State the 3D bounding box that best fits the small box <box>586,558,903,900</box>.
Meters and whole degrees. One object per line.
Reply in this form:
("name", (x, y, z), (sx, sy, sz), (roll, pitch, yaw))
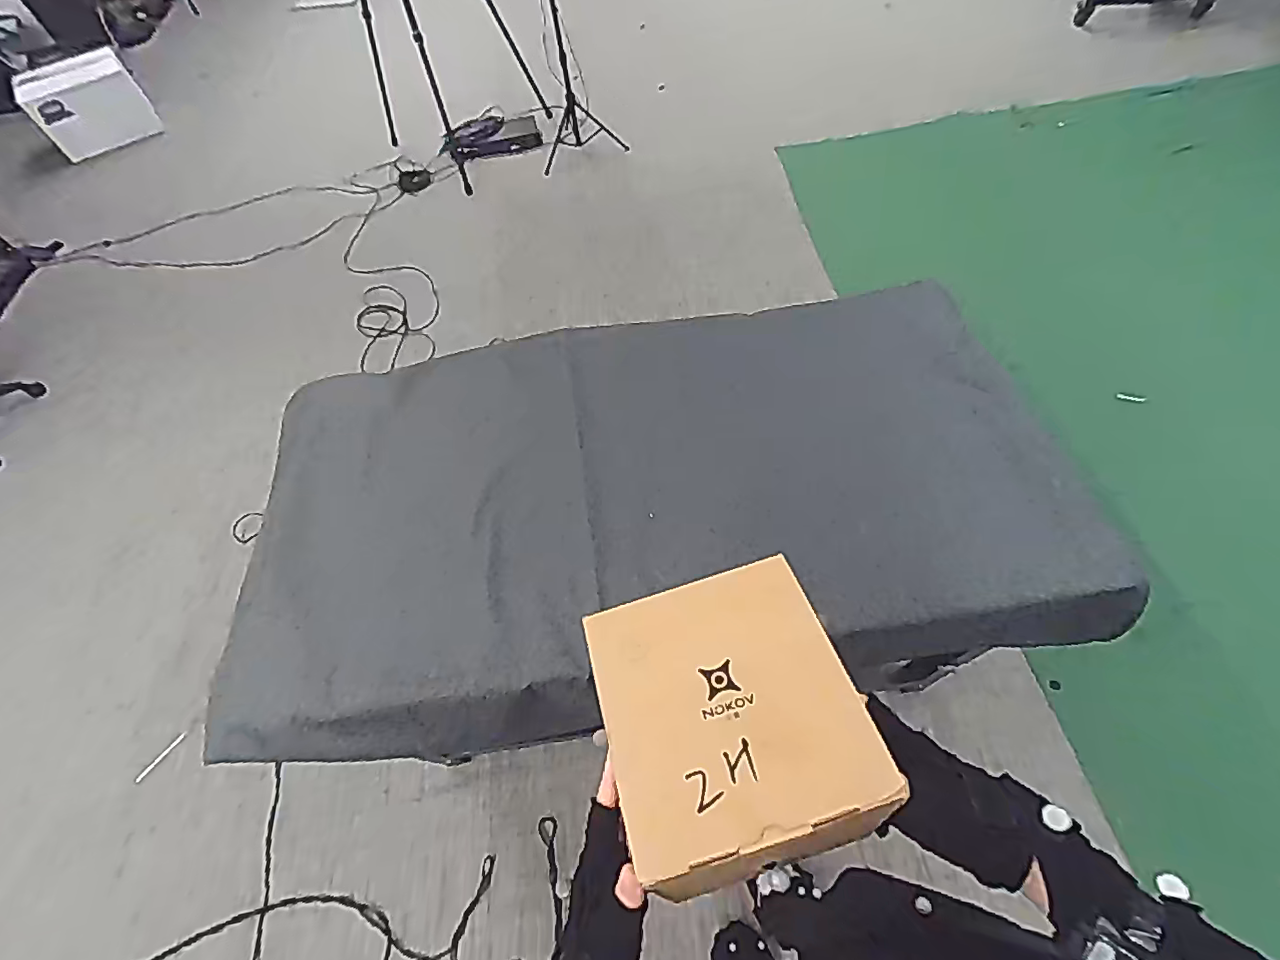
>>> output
("small box", (0.067, 0.194, 0.421), (0.168, 0.176, 0.179), (-17, 48, -2))
